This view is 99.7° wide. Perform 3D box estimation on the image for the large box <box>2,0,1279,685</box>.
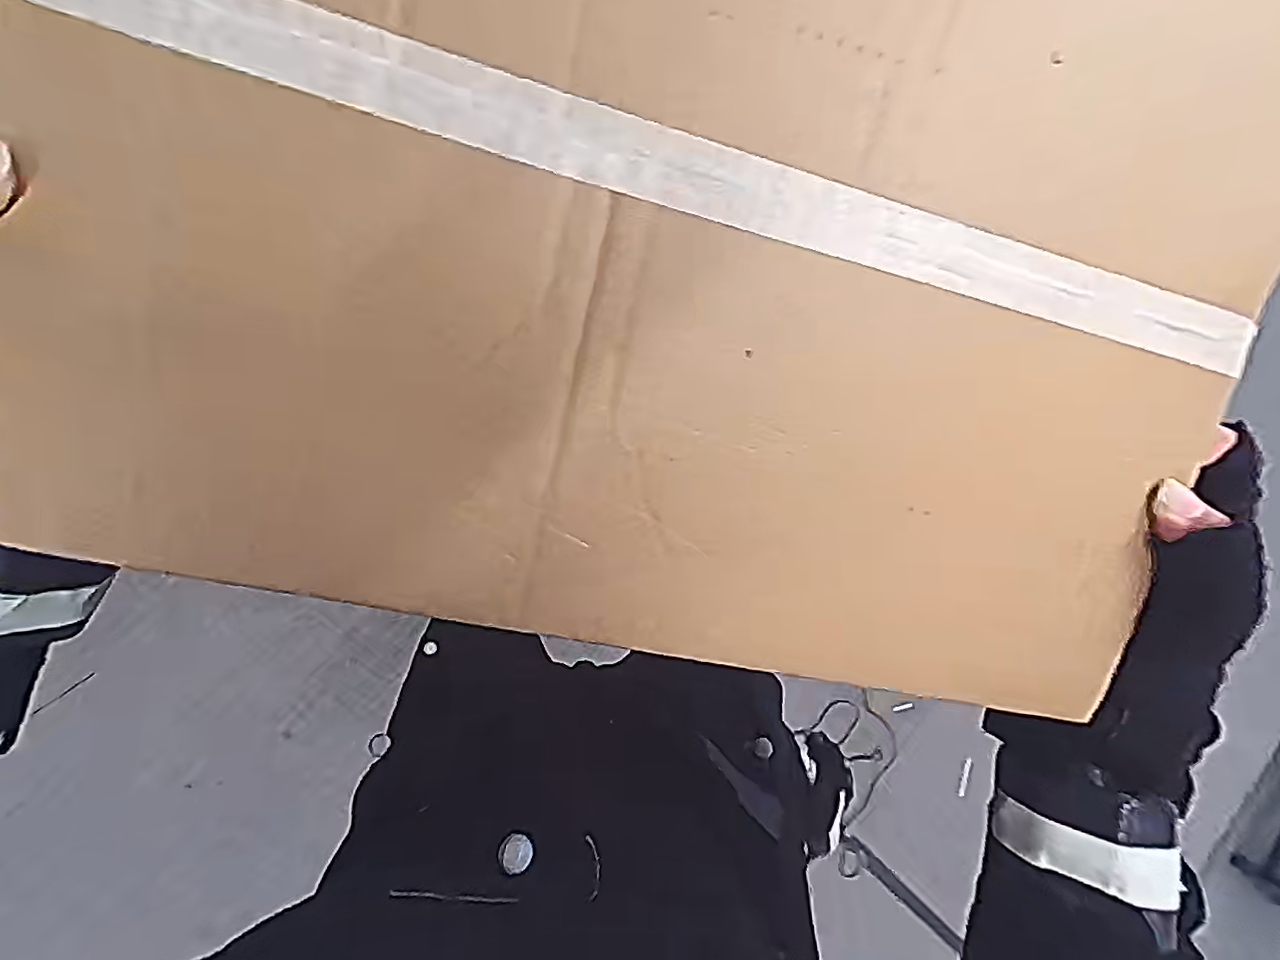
[{"bbox_3d":[0.006,-0.120,0.325,0.408,0.320,0.320,12,99,-10],"label":"large box"}]
